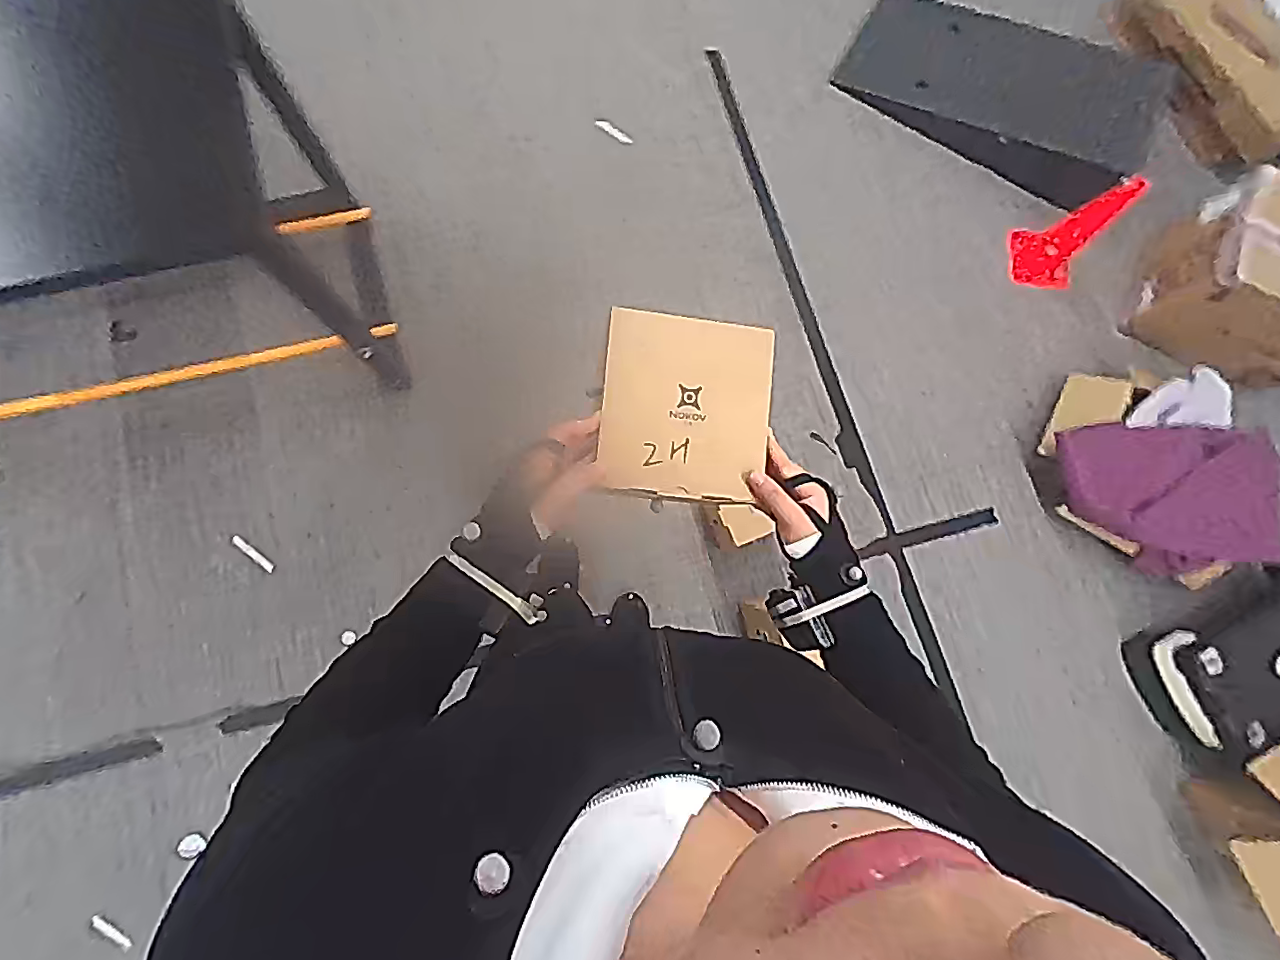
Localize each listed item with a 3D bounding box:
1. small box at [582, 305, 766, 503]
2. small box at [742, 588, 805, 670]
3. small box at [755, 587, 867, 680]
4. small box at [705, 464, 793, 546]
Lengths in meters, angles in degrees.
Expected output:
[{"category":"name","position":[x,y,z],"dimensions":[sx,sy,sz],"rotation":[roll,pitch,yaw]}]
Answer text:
[{"category":"small box","position":[0.026,-0.069,0.597],"dimensions":[0.168,0.176,0.179],"rotation":[5,87,-8]},{"category":"small box","position":[0.384,0.389,1.441],"dimensions":[0.168,0.176,0.179],"rotation":[-12,82,-6]},{"category":"small box","position":[0.396,0.354,1.283],"dimensions":[0.179,0.176,0.168],"rotation":[-17,80,-6]},{"category":"small box","position":[0.288,0.076,1.489],"dimensions":[0.179,0.176,0.168],"rotation":[-21,82,-7]}]
